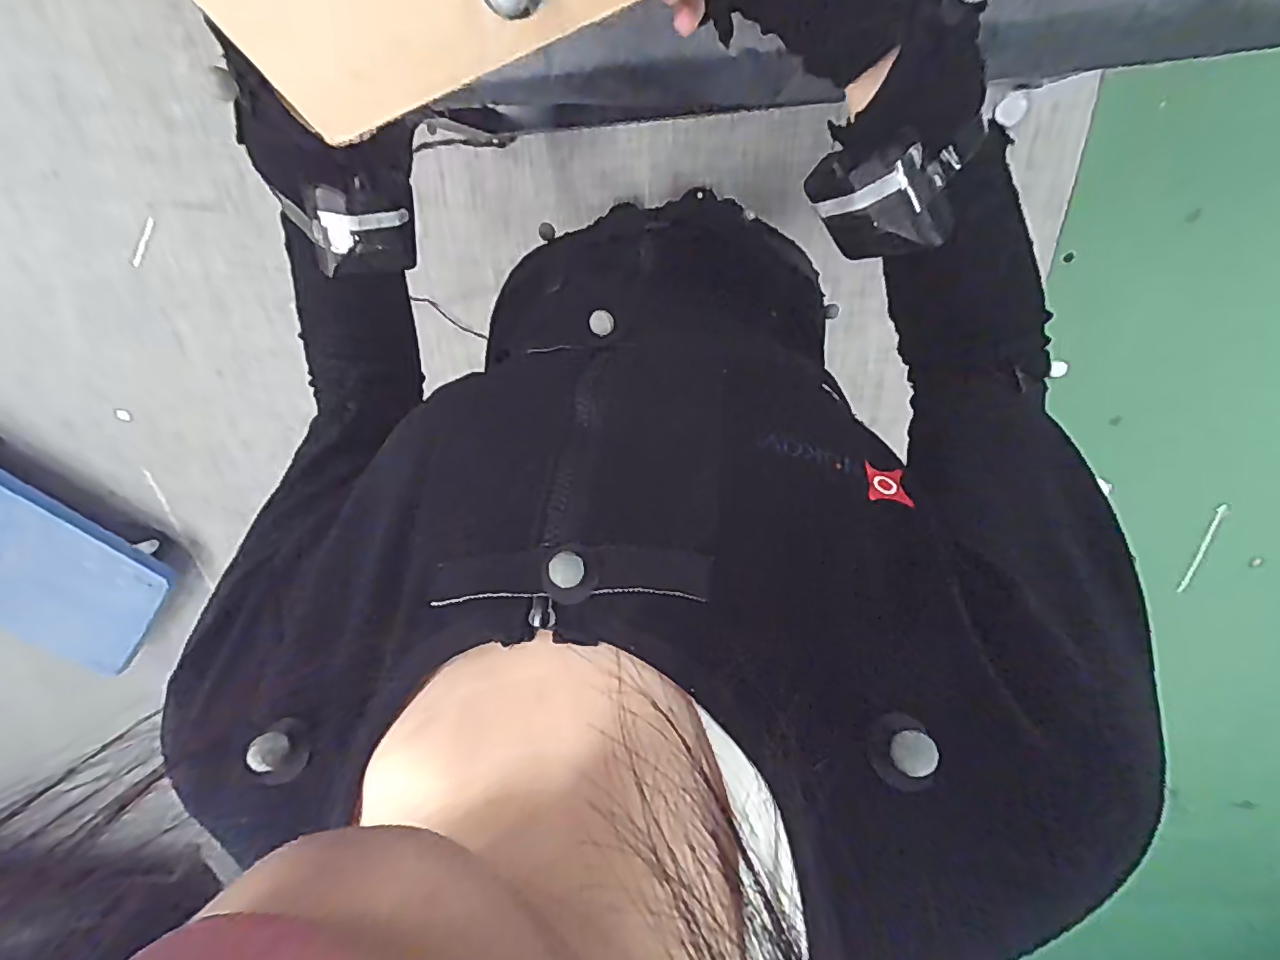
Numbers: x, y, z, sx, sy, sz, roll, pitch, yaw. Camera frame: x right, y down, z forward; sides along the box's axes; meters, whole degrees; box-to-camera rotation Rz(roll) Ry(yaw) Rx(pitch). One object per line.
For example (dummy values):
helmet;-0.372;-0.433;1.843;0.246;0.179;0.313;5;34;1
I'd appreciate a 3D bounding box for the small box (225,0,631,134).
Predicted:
small box;-0.080;-0.266;0.165;0.168;0.179;0.176;-11;155;18
